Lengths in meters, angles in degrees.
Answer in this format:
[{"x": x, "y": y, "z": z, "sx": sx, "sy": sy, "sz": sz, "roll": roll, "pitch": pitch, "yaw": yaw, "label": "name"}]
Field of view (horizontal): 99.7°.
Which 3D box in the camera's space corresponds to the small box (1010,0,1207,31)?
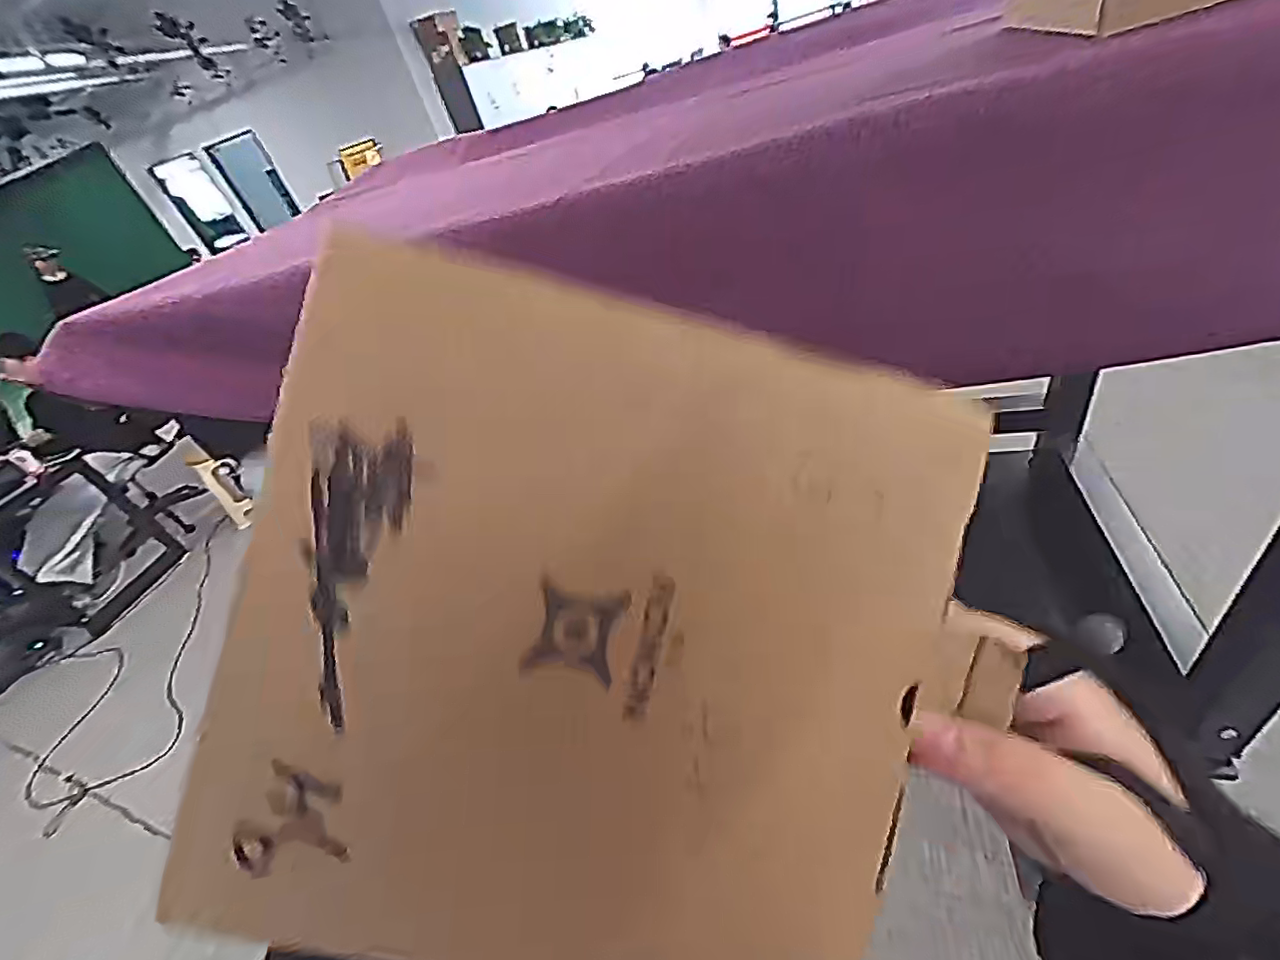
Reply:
[{"x": 0.322, "y": -0.369, "z": 0.288, "sx": 0.168, "sy": 0.176, "sz": 0.179, "roll": -6, "pitch": 38, "yaw": 19, "label": "small box"}]
